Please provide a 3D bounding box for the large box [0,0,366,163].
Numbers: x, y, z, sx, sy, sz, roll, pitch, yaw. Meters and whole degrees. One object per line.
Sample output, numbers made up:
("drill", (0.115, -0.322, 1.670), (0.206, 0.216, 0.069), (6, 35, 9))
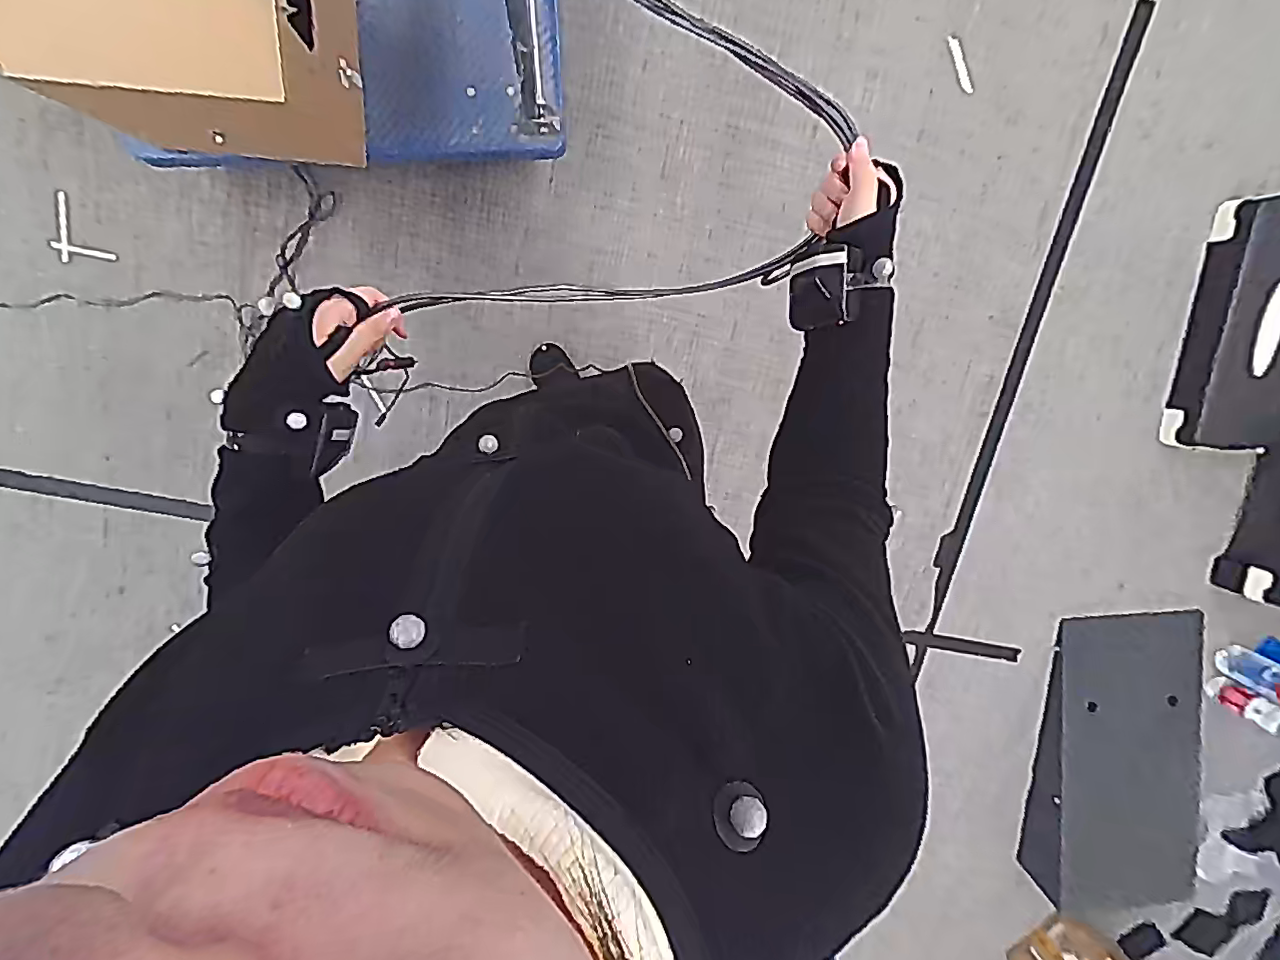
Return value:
("large box", (-0.737, -0.758, 0.910), (0.408, 0.320, 0.320), (2, 103, -5))
